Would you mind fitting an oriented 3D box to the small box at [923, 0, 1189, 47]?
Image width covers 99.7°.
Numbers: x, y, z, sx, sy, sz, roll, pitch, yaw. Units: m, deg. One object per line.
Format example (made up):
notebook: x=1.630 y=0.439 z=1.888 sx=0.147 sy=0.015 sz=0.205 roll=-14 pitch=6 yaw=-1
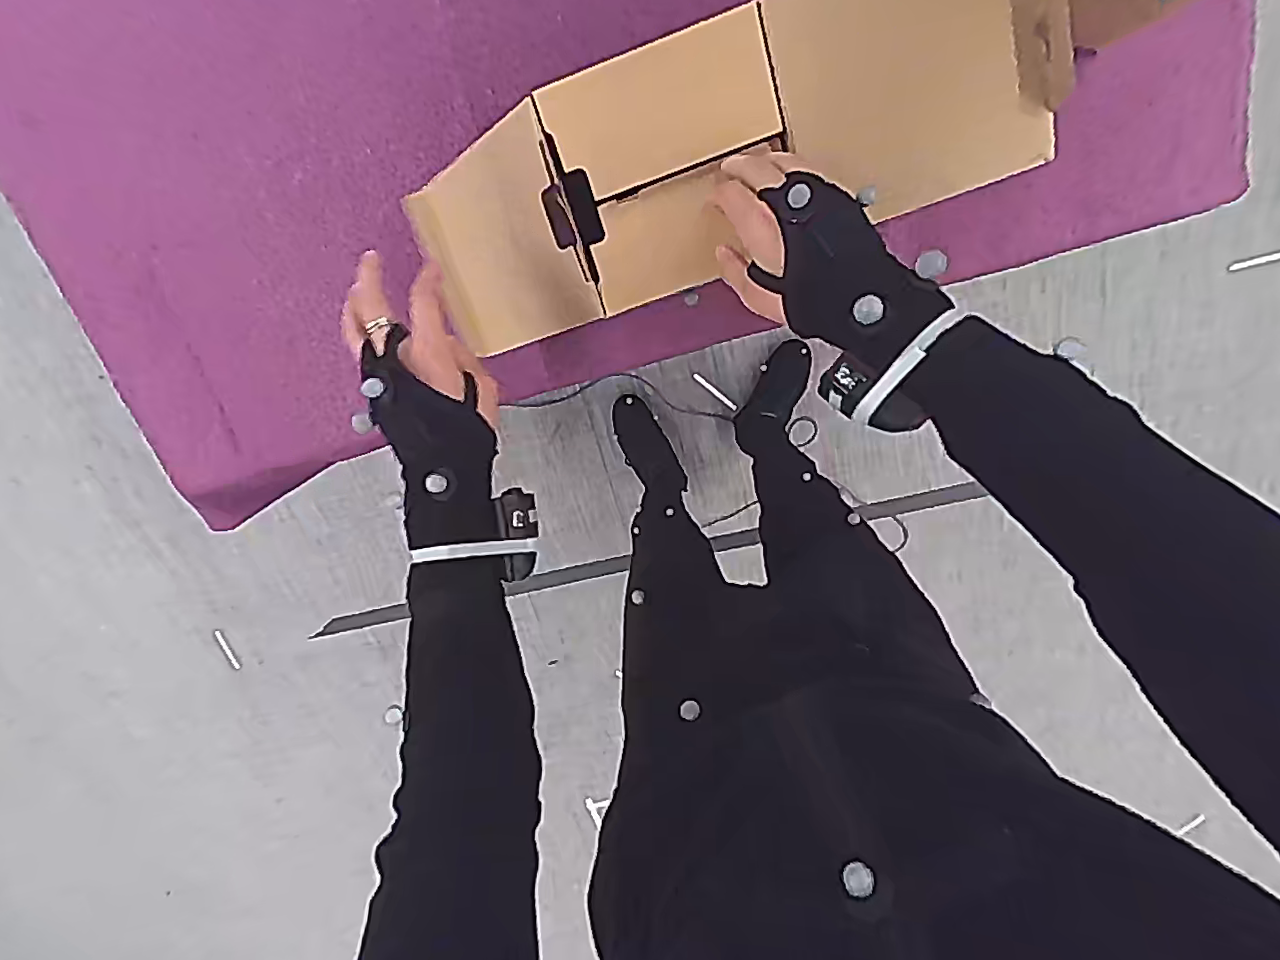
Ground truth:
small box: x=0.352 y=-0.458 z=0.397 sx=0.179 sy=0.176 sz=0.168 roll=10 pitch=109 yaw=-2
